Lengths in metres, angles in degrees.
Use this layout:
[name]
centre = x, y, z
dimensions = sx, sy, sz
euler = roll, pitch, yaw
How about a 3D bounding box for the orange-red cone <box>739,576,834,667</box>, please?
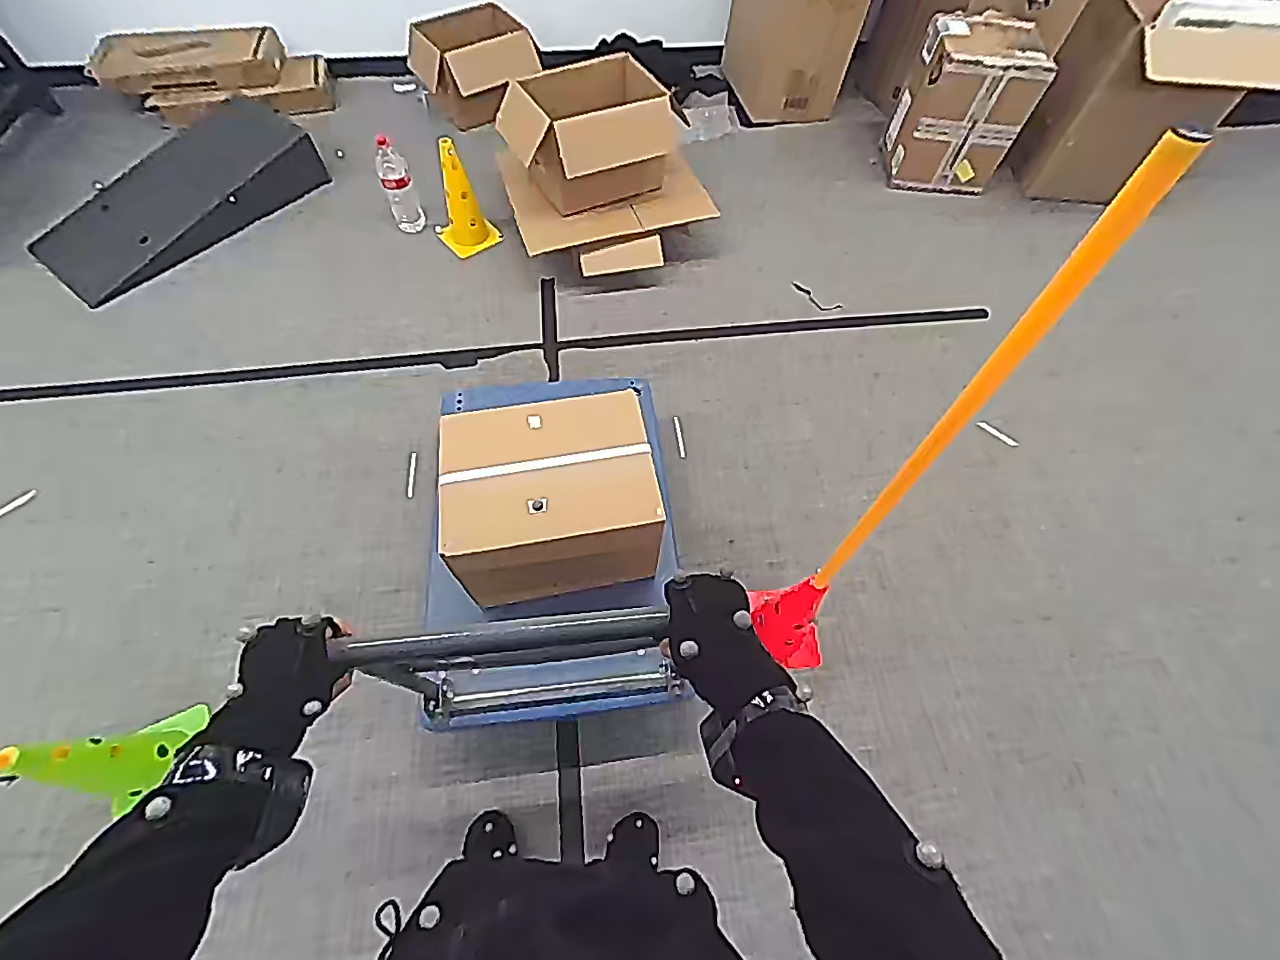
[orange-red cone]
centre = 0.361, 0.290, 1.221
dimensions = 0.199, 0.360, 0.198
euler = 1, 61, -3
